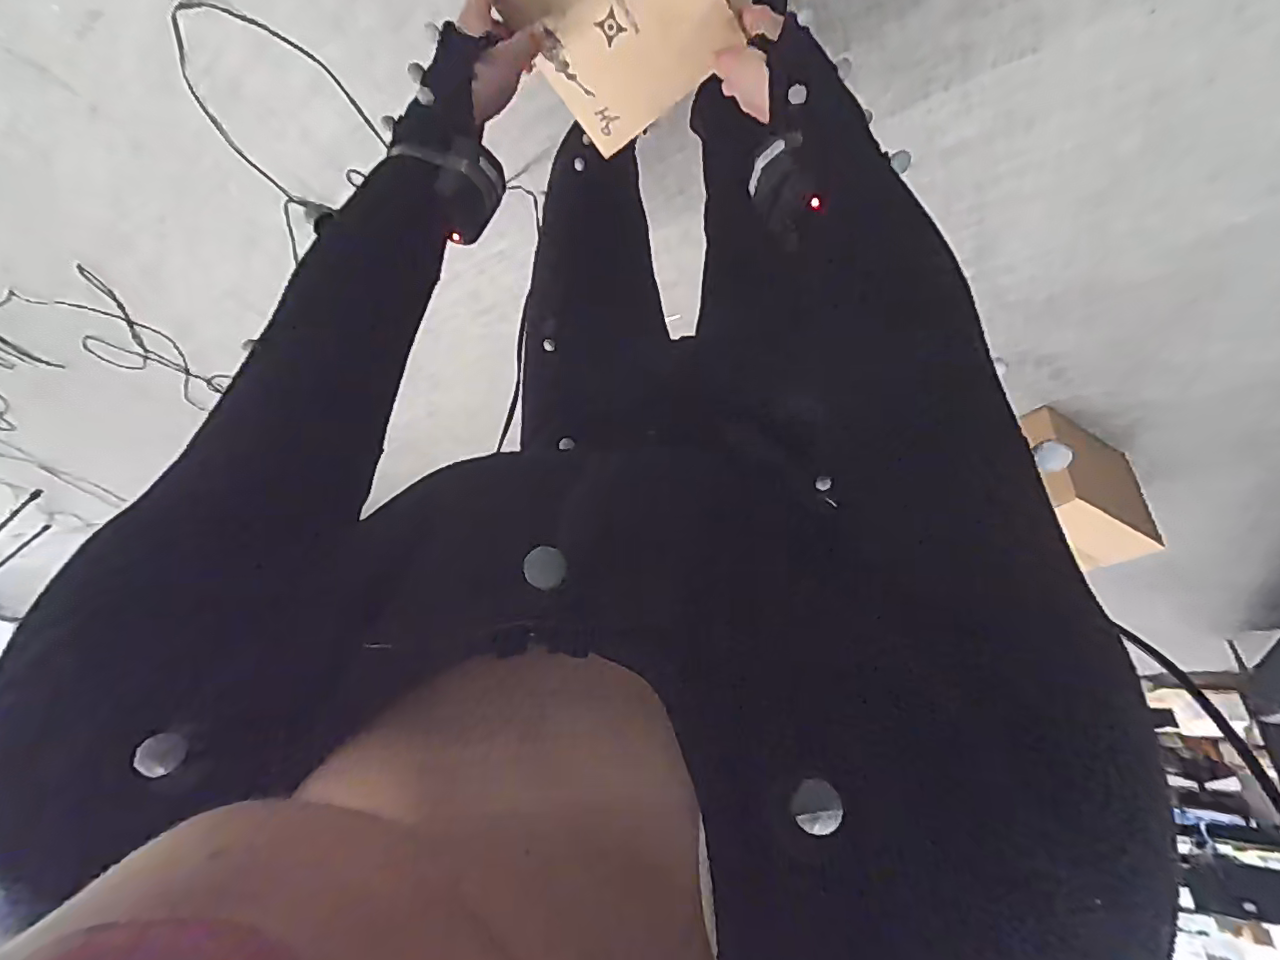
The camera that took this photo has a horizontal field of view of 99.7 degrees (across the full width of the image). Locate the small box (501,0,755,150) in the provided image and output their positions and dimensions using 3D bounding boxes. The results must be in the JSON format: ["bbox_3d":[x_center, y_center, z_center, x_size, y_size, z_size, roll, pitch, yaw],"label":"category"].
[{"bbox_3d":[-0.005,-0.479,0.525,0.179,0.176,0.168,-20,135,33],"label":"small box"}]
